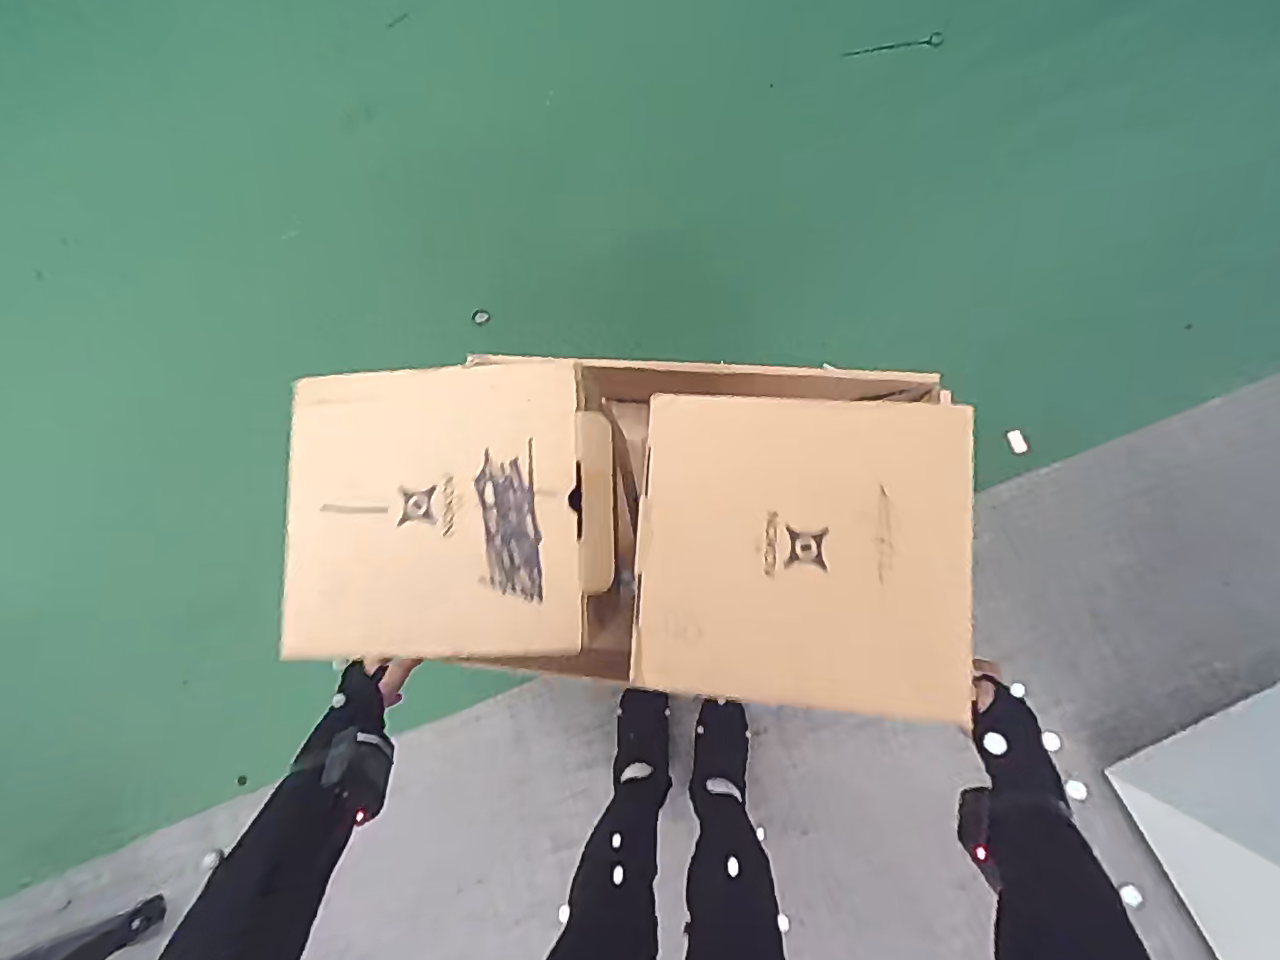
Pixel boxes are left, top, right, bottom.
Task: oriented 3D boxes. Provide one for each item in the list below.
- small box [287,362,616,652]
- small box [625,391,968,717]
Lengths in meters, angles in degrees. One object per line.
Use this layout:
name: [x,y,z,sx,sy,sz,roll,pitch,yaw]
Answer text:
small box: [-0.111,0.025,0.391,0.179,0.176,0.168,-3,81,5]
small box: [0.096,0.044,0.371,0.179,0.176,0.168,3,83,9]
